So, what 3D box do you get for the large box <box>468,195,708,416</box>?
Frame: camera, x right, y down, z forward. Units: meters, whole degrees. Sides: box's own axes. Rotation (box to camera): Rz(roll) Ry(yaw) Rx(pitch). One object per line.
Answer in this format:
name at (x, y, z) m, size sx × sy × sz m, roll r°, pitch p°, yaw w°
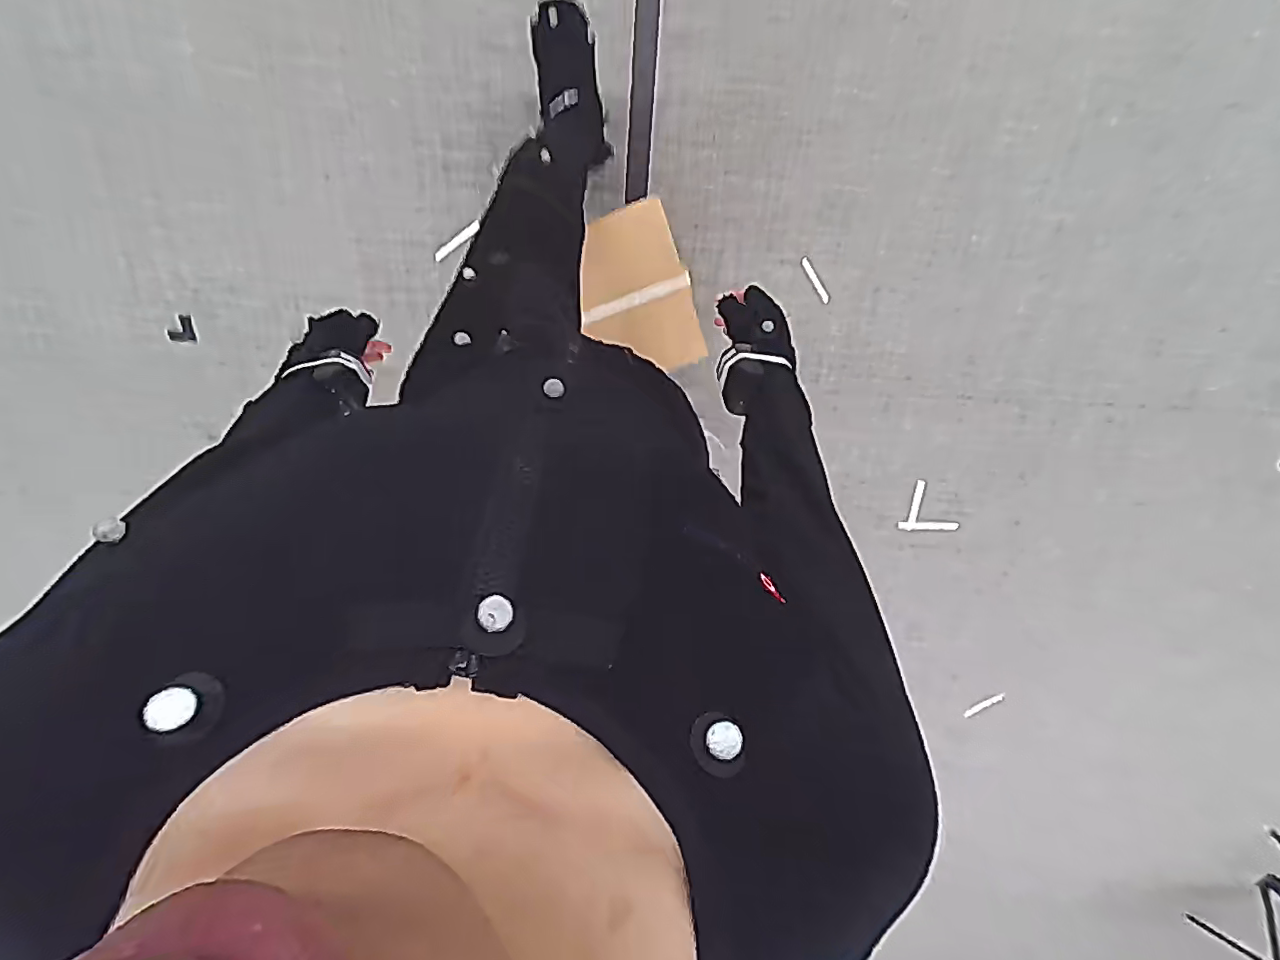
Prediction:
large box at (-0.095, -0.392, 1.202) m, size 0.408 × 0.320 × 0.320 m, roll -18°, pitch 114°, yaw 9°
